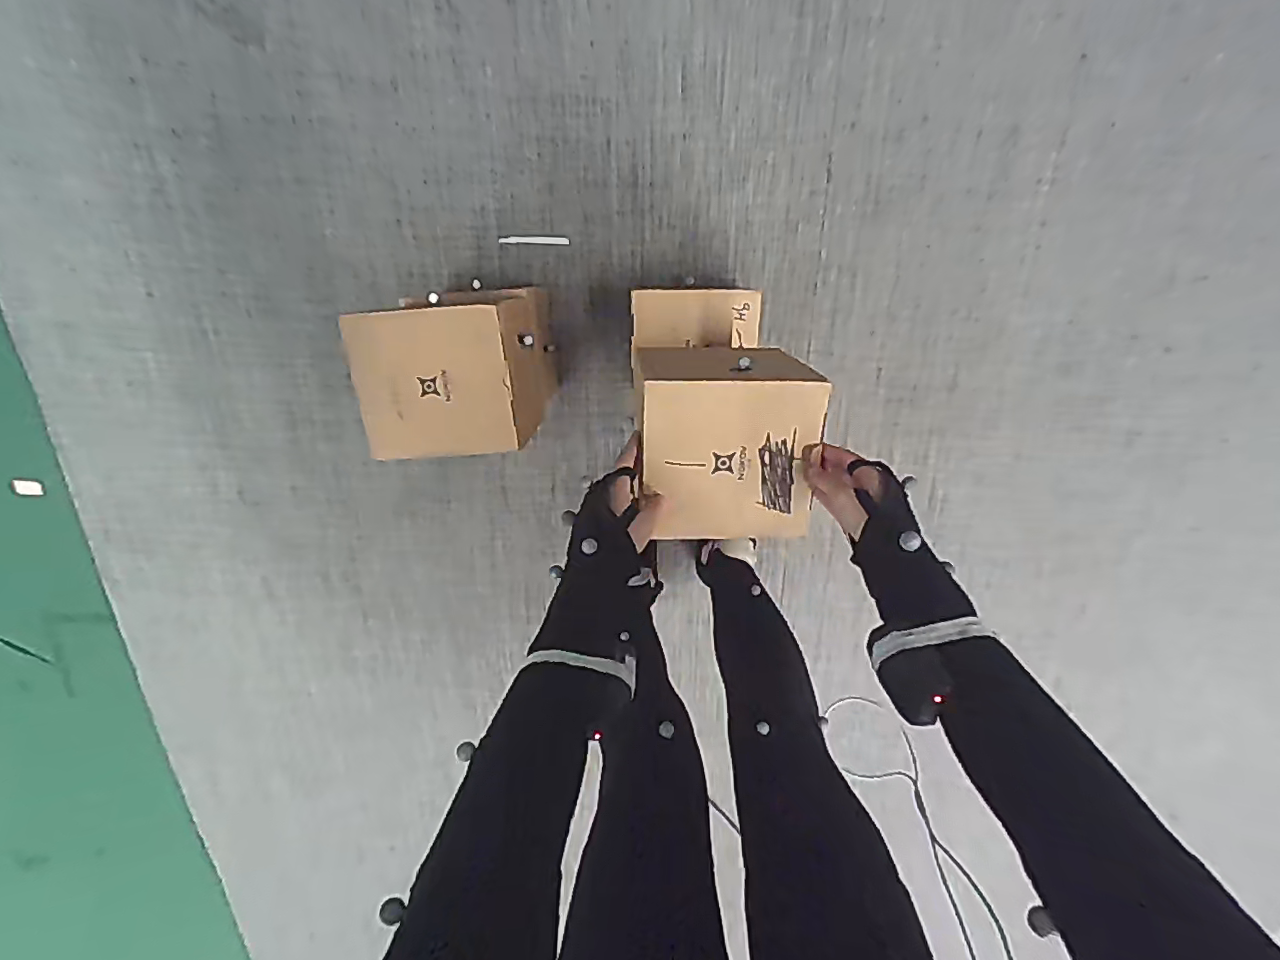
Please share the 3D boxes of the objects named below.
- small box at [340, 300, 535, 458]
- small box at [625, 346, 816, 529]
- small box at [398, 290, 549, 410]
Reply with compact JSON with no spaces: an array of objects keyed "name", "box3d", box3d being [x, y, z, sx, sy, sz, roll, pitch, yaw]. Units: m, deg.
[{"name":"small box","box3d":[-0.236,-0.135,0.688,0.179,0.176,0.168,-4,110,2]},{"name":"small box","box3d":[0.075,-0.056,0.613,0.179,0.176,0.168,-1,113,-3]},{"name":"small box","box3d":[-0.241,-0.201,0.837,0.179,0.176,0.168,-3,110,2]}]
